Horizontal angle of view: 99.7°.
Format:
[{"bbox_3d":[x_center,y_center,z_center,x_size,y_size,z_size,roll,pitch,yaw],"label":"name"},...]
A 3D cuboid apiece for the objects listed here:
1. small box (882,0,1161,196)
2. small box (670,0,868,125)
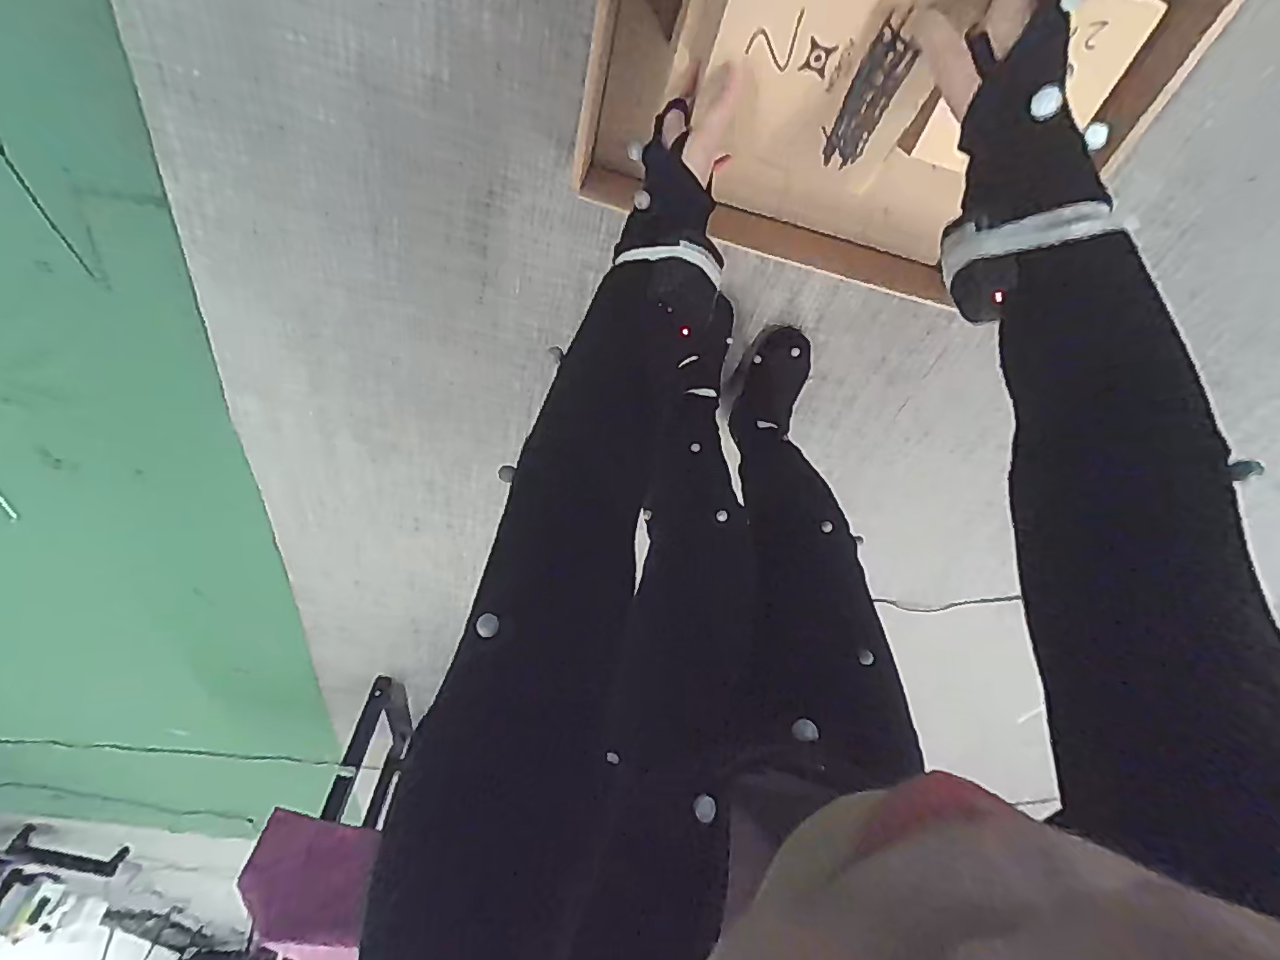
[{"bbox_3d":[0.404,-0.463,0.618,0.168,0.176,0.179,12,133,-8],"label":"small box"},{"bbox_3d":[0.139,-0.523,0.579,0.168,0.176,0.179,14,132,-11],"label":"small box"}]
